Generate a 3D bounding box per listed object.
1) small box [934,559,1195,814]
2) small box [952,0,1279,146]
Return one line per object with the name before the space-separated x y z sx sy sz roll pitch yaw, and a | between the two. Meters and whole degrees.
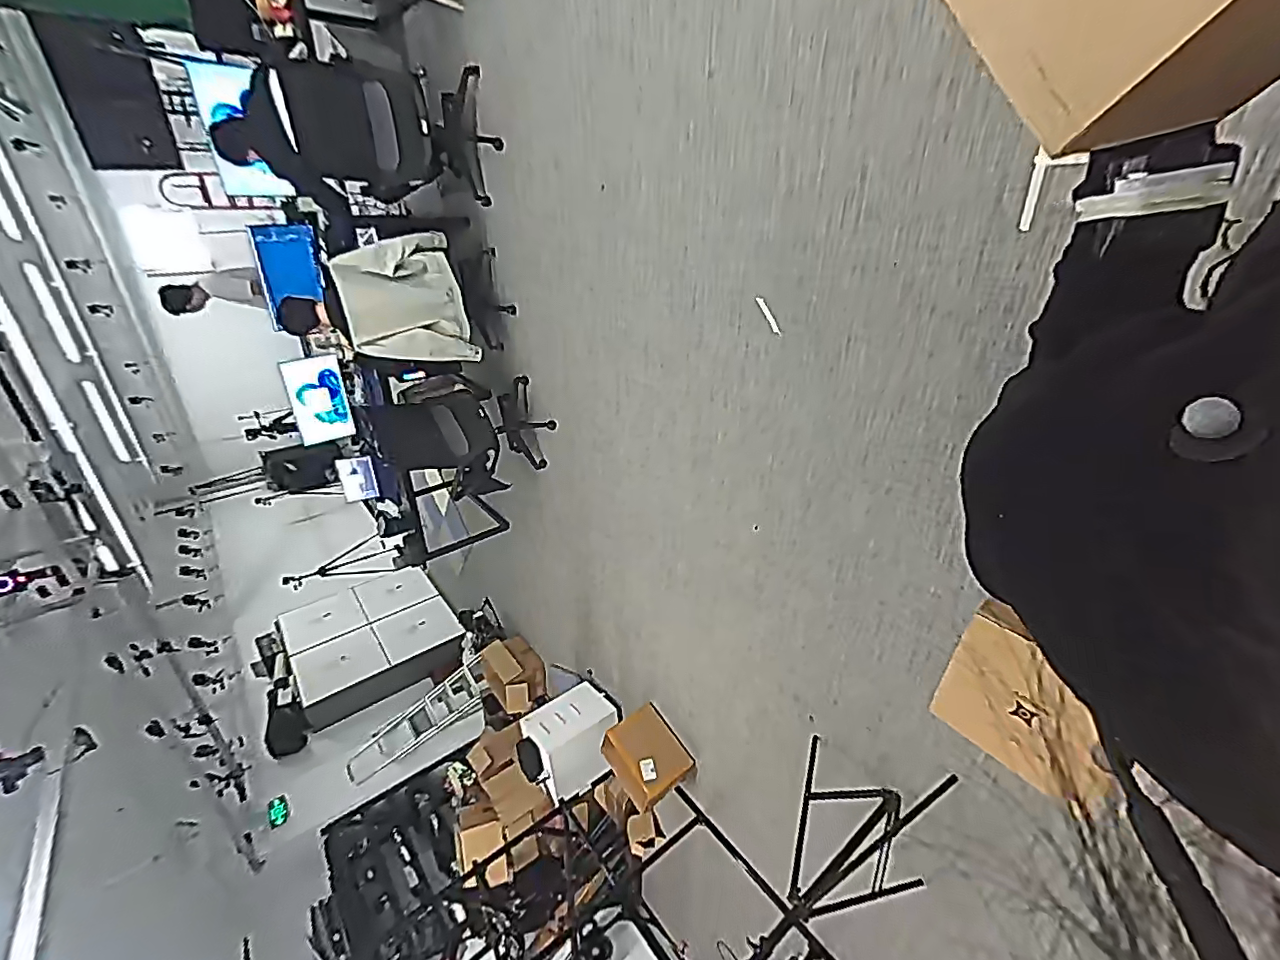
small box | 0.479 0.220 0.618 0.168 0.176 0.179 34 135 43
small box | 0.254 -0.281 0.223 0.179 0.176 0.168 65 161 8
